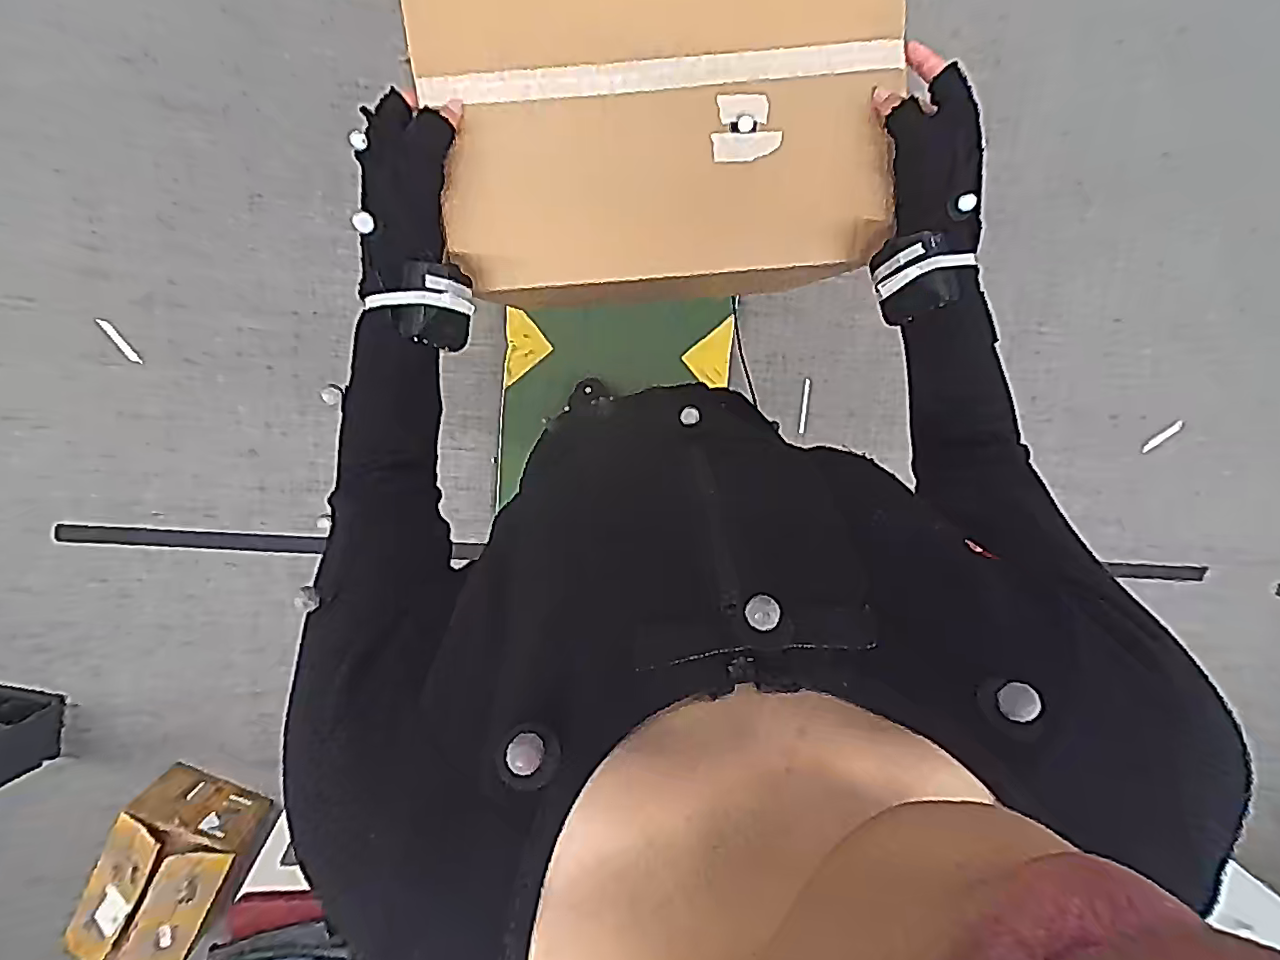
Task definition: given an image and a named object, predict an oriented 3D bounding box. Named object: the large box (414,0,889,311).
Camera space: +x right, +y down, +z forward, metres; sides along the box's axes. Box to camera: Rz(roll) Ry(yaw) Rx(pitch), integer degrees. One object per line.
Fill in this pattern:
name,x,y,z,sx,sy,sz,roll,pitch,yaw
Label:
large box,0.009,-0.379,0.610,0.408,0.320,0.320,-5,104,-2
